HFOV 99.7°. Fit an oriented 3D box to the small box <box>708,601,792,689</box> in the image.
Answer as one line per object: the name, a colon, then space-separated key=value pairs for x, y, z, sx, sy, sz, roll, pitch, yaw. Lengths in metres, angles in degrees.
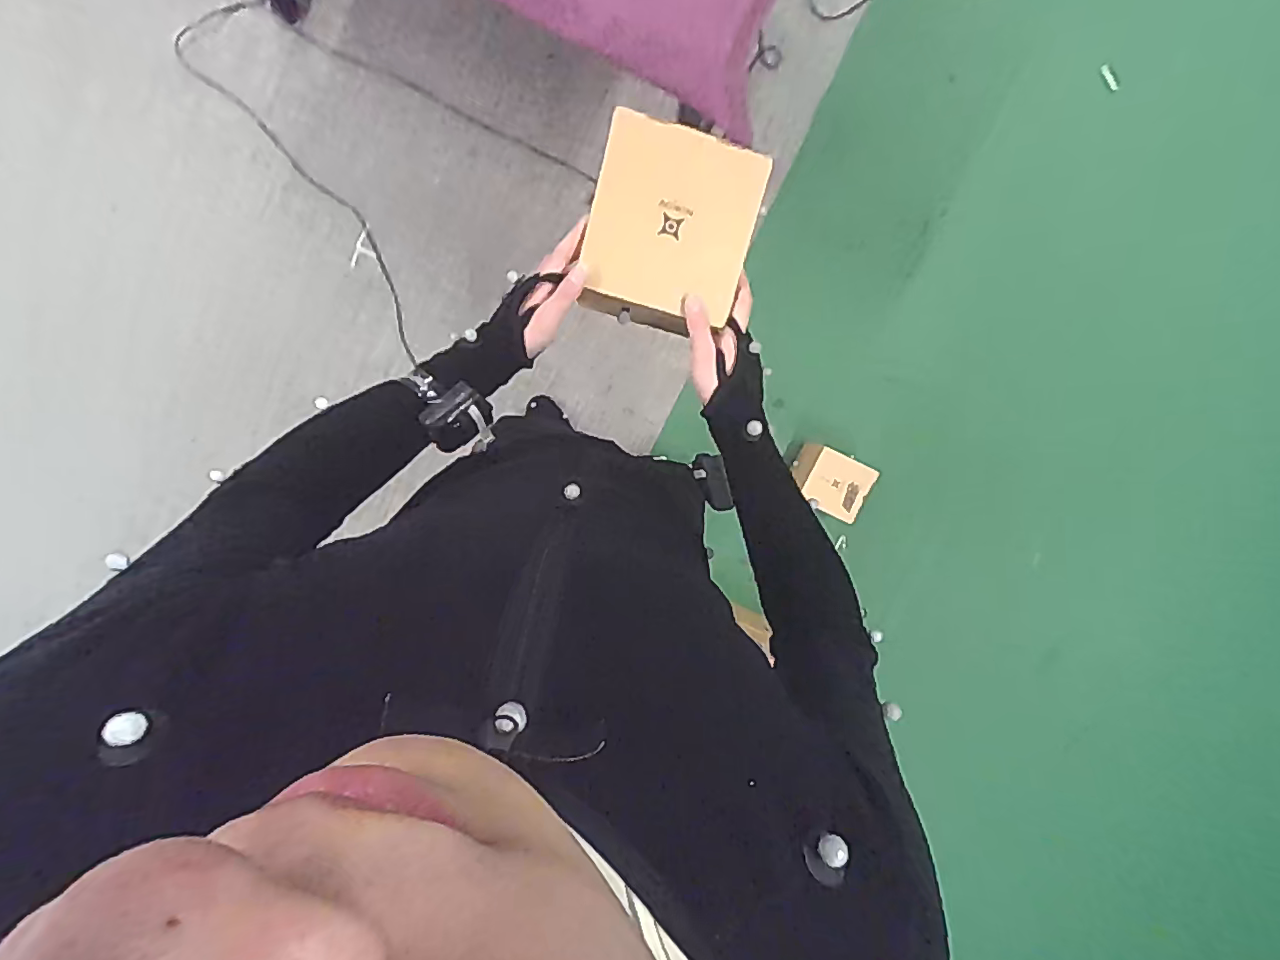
small box: x=0.327 y=0.492 z=1.643 sx=0.179 sy=0.176 sz=0.168 roll=27 pitch=98 yaw=-5

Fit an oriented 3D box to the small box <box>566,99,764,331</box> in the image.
small box: x=0.020 y=-0.279 z=0.618 sx=0.168 sy=0.176 sz=0.179 roll=13 pitch=99 yaw=-7

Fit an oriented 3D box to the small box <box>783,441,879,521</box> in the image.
small box: x=0.544 y=-0.005 z=1.562 sx=0.179 sy=0.176 sz=0.168 roll=25 pitch=98 yaw=-4
